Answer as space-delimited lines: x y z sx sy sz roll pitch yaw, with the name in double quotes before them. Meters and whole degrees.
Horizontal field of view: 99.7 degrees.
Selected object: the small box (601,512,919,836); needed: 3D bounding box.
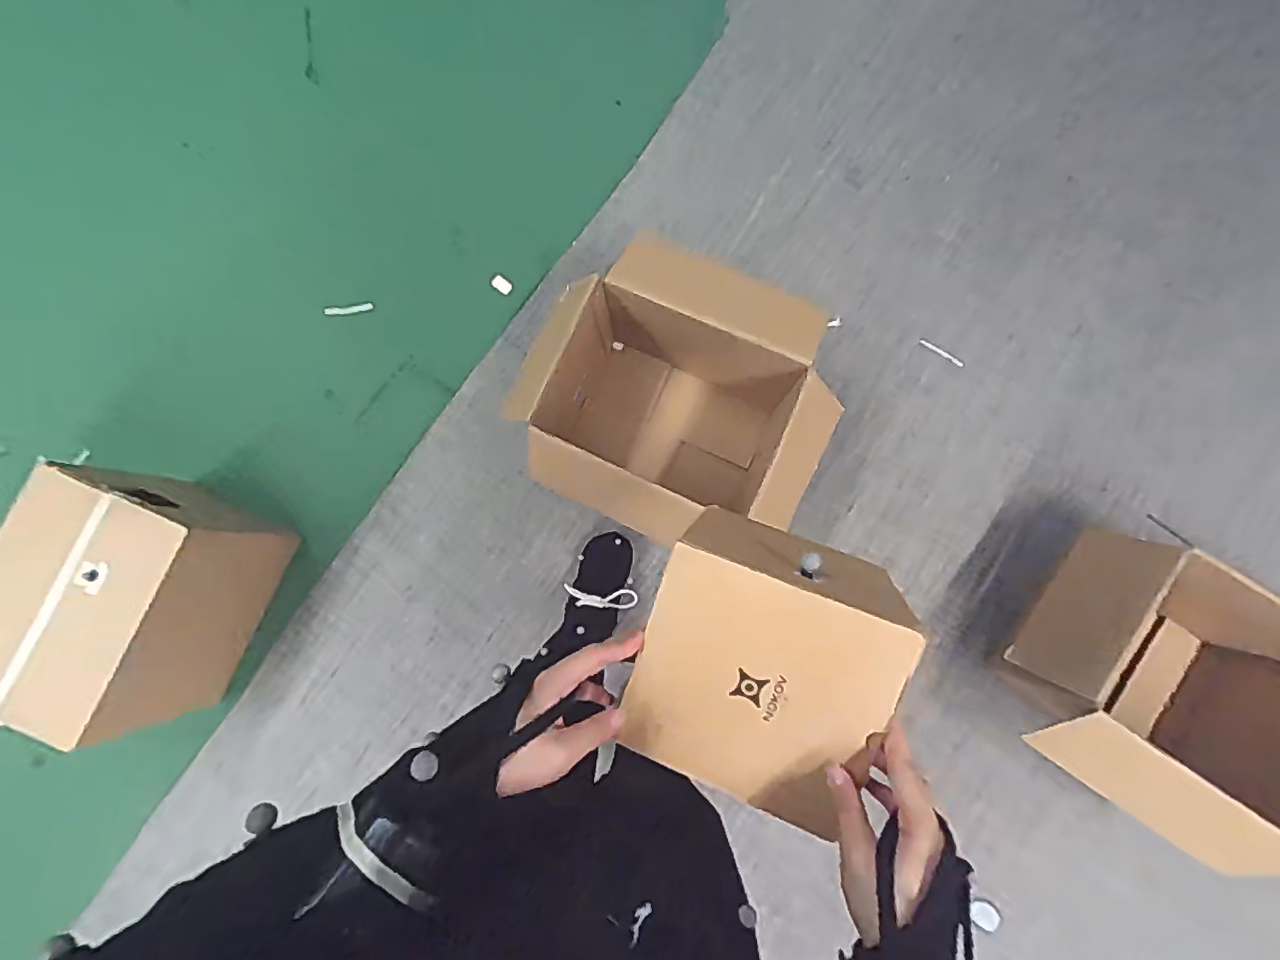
"small box" 0.094 0.133 0.450 0.179 0.176 0.168 20 100 11
